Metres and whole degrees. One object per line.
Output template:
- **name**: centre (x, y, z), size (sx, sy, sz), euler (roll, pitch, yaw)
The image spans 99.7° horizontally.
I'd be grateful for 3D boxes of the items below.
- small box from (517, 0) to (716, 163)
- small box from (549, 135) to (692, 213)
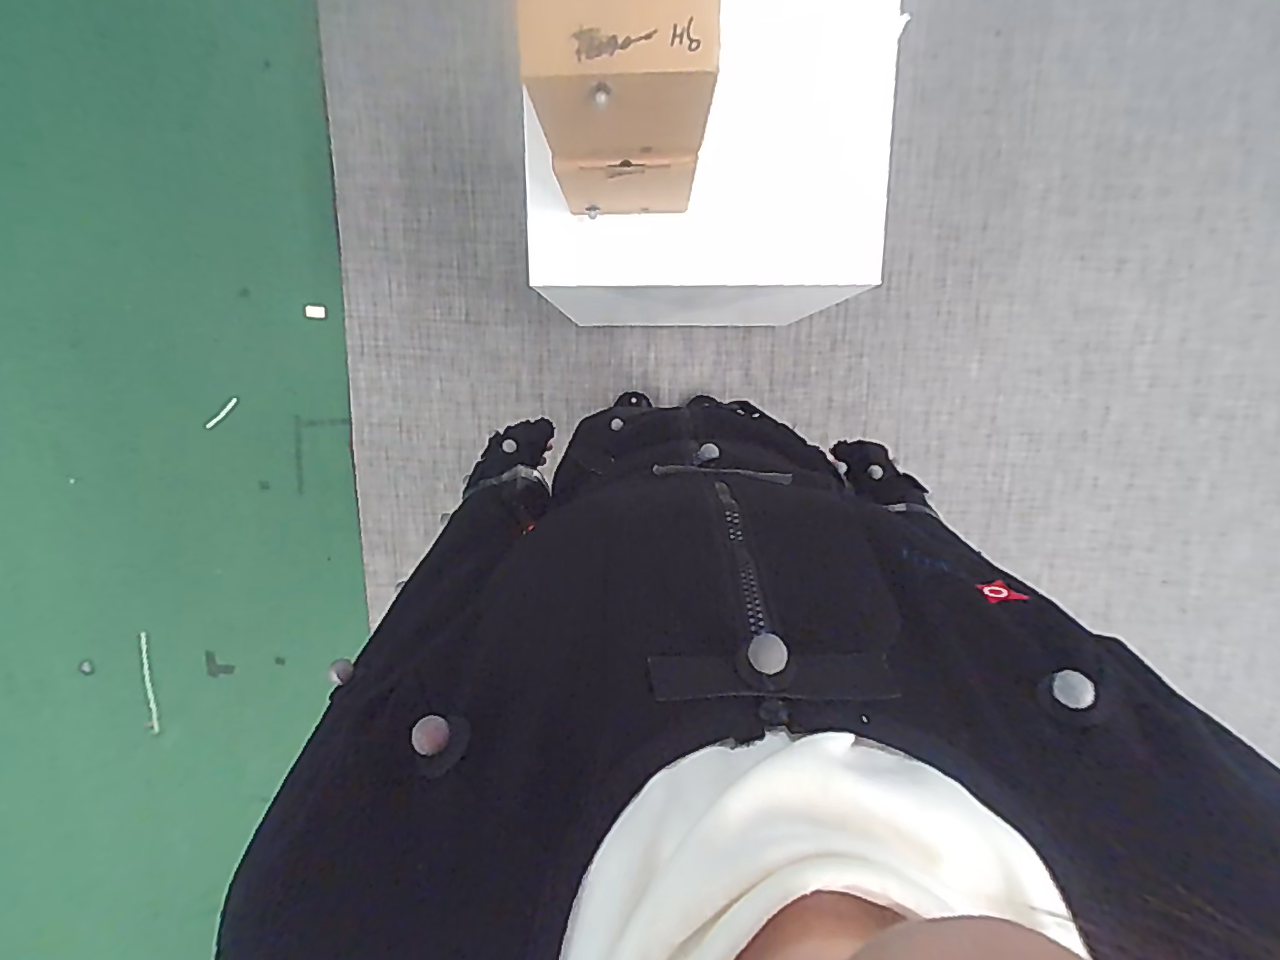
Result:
- **small box**: centre (-0.019, -0.432, 0.516), size (0.168, 0.176, 0.179), euler (-1, 99, 1)
- **small box**: centre (-0.020, -0.448, 0.678), size (0.168, 0.176, 0.179), euler (-1, 99, 1)
